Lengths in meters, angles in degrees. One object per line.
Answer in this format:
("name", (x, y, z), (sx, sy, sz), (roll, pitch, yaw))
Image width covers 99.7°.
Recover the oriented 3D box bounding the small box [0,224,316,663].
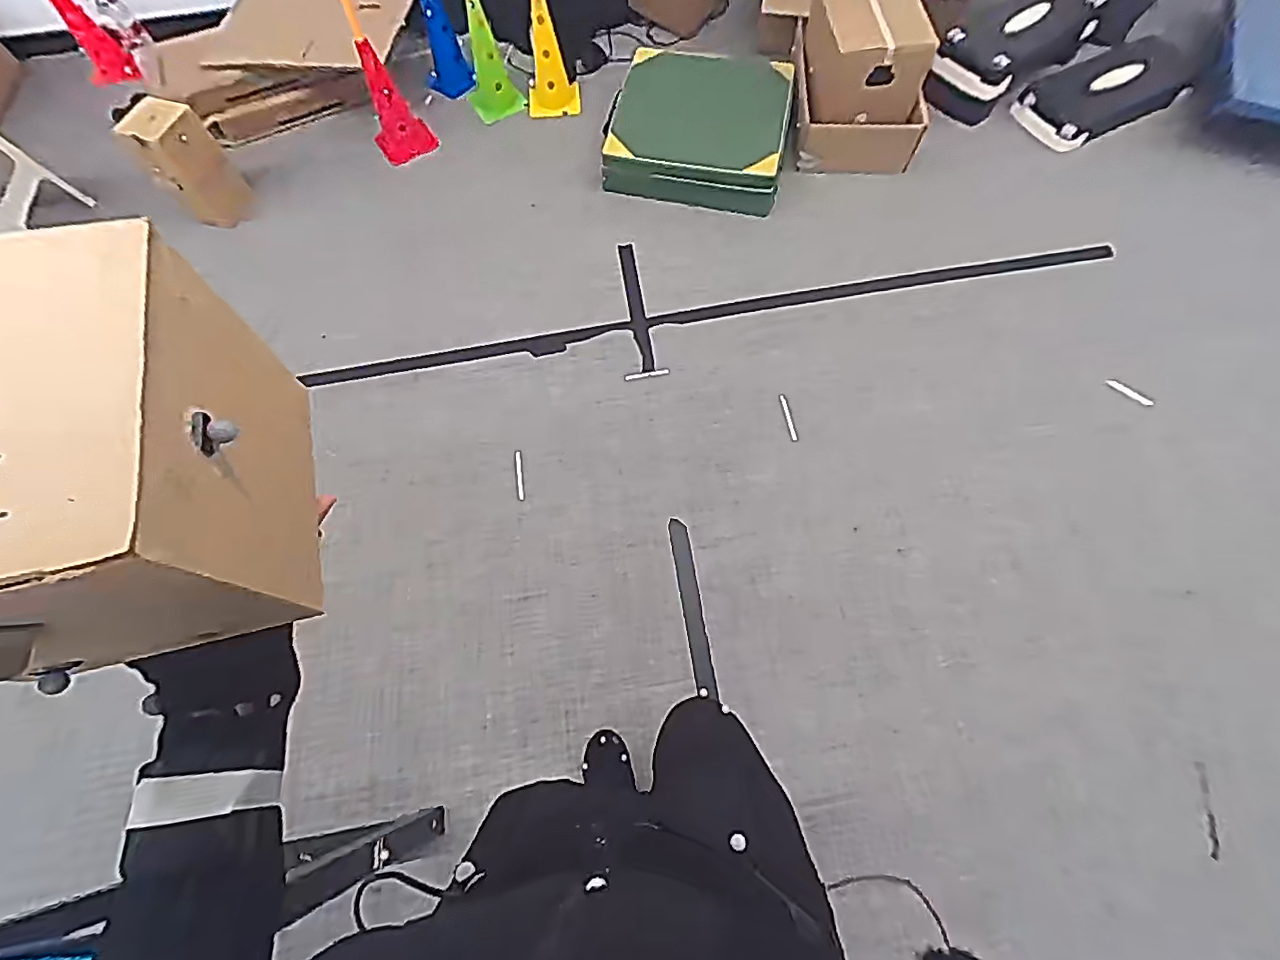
("small box", (-0.305, -0.003, 0.302), (0.168, 0.176, 0.179), (-12, 70, -10))
